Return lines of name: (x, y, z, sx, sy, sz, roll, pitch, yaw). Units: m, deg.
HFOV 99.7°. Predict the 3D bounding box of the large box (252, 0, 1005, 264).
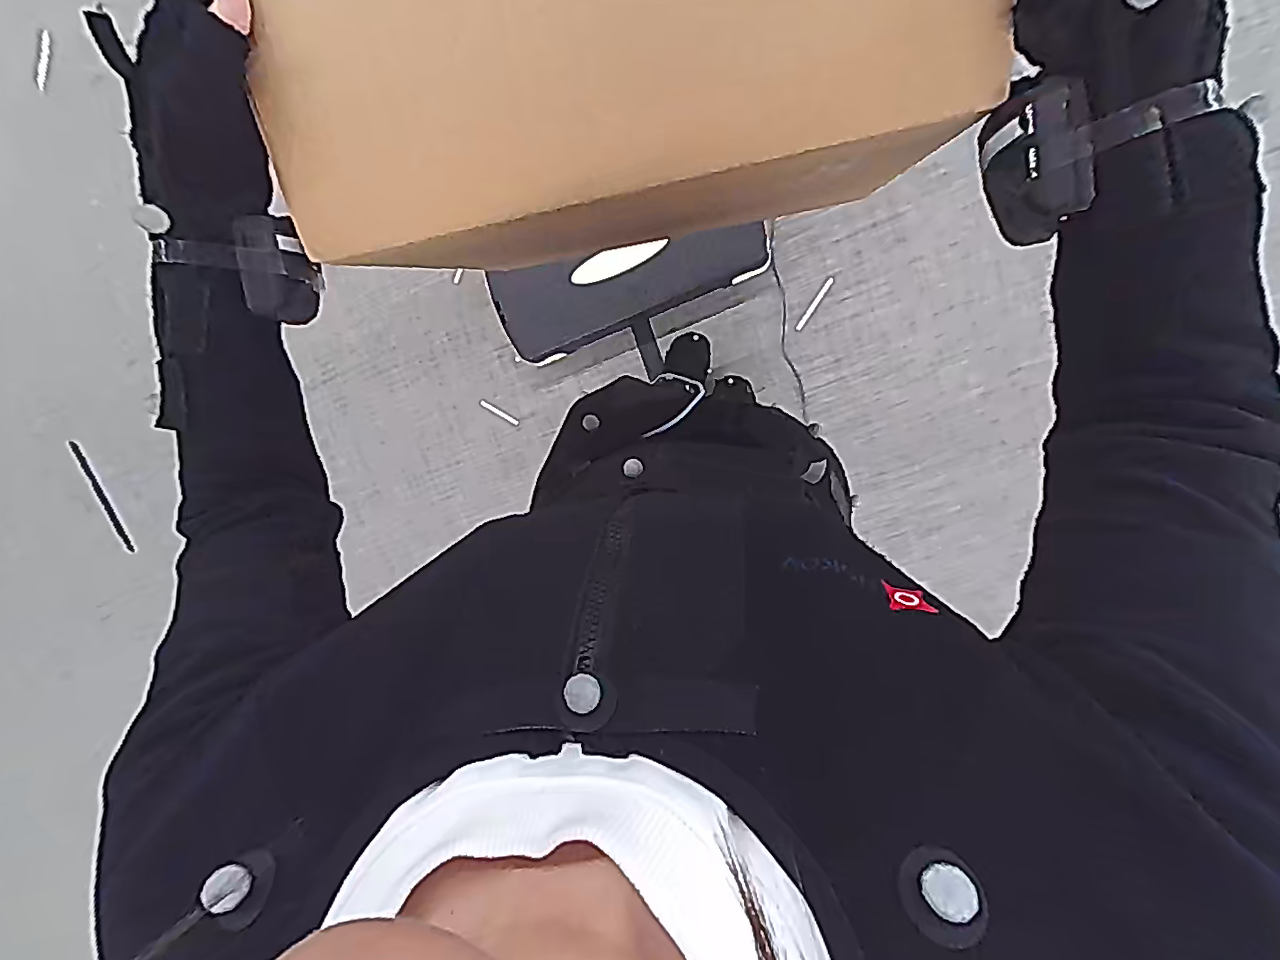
large box: (-0.013, -0.368, 0.408, 0.408, 0.320, 0.320, -7, 109, 12)
